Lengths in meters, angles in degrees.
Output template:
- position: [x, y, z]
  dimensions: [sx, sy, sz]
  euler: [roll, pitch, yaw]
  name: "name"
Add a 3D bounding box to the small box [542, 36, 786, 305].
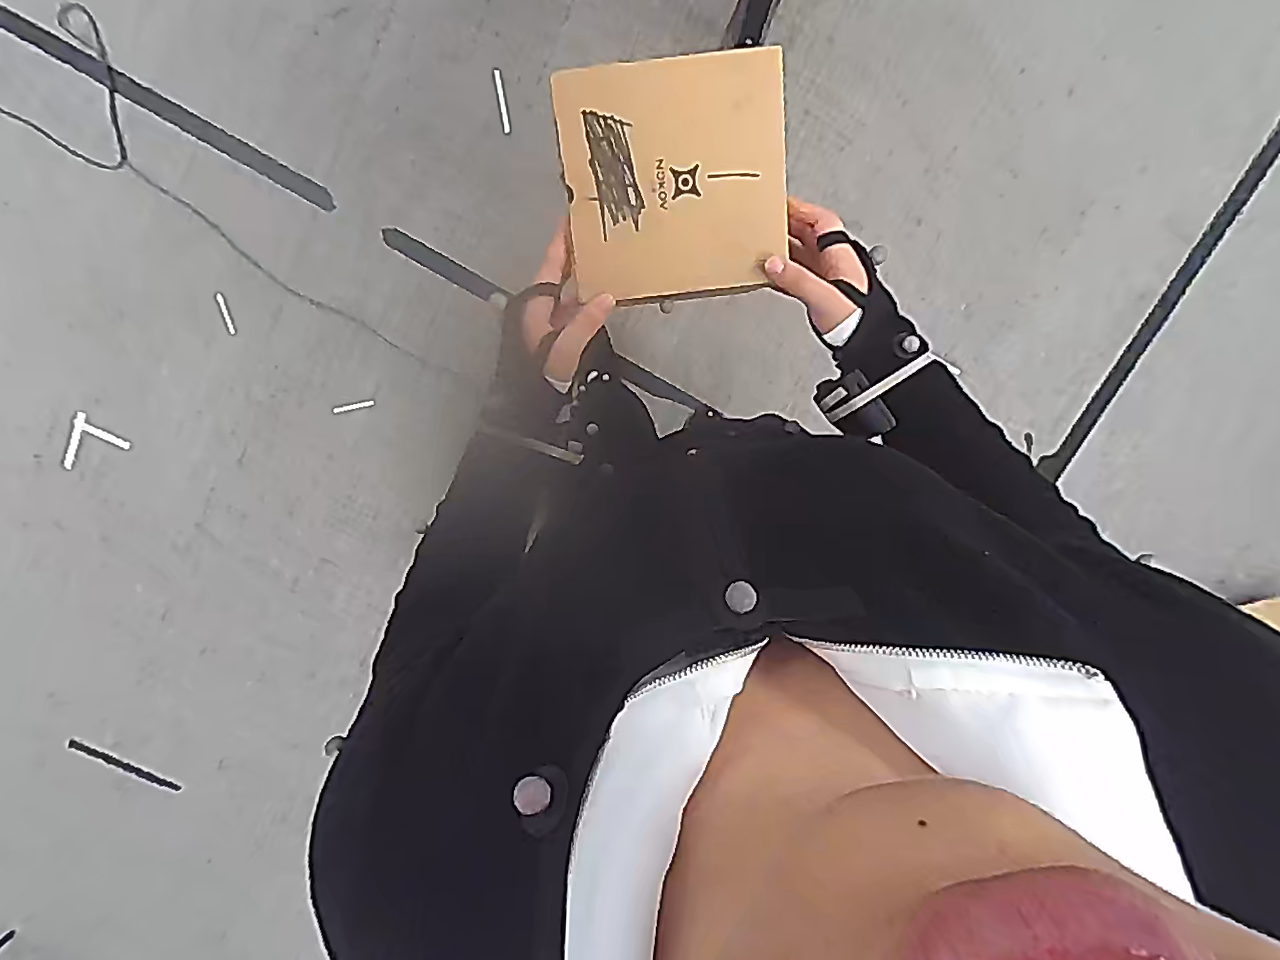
- position: [0.022, -0.255, 0.489]
  dimensions: [0.179, 0.176, 0.168]
  euler: [-7, 106, 1]
  name: "small box"
